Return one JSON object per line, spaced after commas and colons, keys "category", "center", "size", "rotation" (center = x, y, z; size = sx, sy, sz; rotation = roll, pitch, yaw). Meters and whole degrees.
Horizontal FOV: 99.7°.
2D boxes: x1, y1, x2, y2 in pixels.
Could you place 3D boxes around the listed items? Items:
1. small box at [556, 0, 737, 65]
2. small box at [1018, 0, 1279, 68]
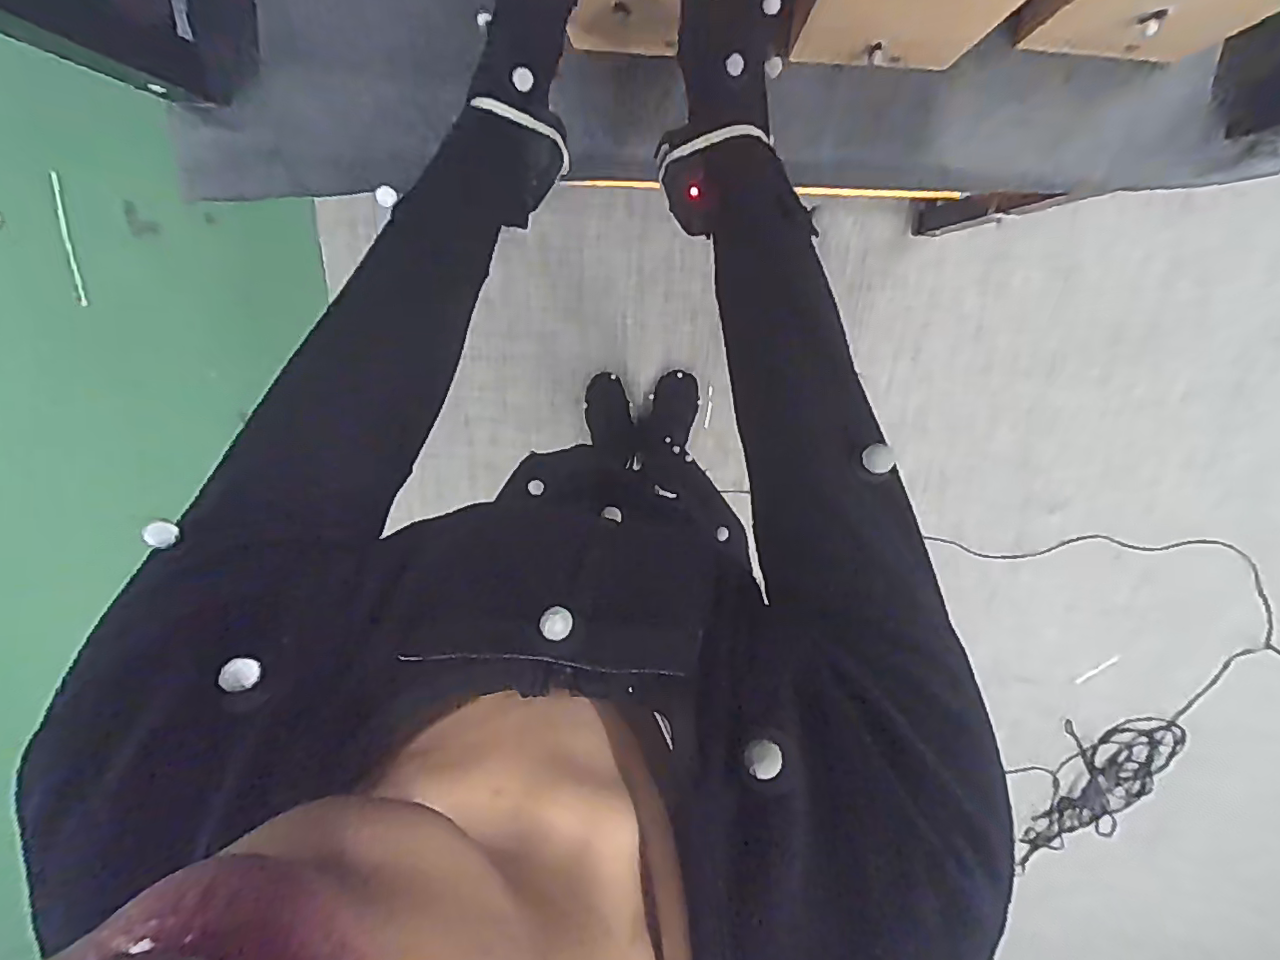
{"category": "small box", "center": [0.013, -0.503, 0.478], "size": [0.168, 0.176, 0.179], "rotation": [6, 107, 2]}
{"category": "small box", "center": [0.465, -0.486, 0.455], "size": [0.168, 0.176, 0.179], "rotation": [7, 107, 1]}
